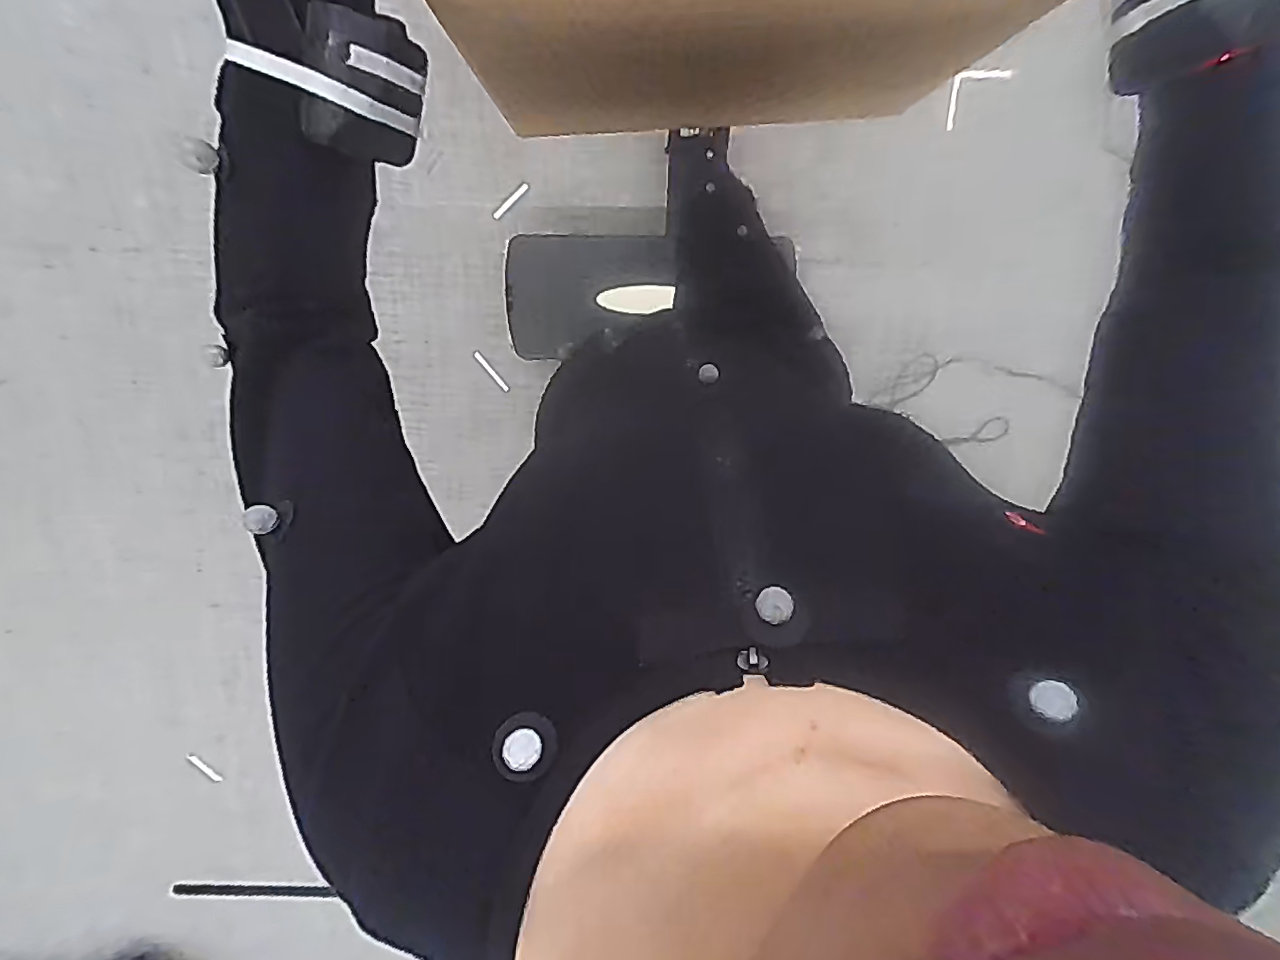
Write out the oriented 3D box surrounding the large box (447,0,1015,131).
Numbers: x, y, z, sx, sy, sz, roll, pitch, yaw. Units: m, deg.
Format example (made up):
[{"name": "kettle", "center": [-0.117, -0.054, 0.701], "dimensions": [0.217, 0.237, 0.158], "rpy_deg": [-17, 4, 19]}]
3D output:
[{"name": "large box", "center": [0.061, -0.478, 0.377], "dimensions": [0.408, 0.320, 0.320], "rpy_deg": [-4, 108, -1]}]
